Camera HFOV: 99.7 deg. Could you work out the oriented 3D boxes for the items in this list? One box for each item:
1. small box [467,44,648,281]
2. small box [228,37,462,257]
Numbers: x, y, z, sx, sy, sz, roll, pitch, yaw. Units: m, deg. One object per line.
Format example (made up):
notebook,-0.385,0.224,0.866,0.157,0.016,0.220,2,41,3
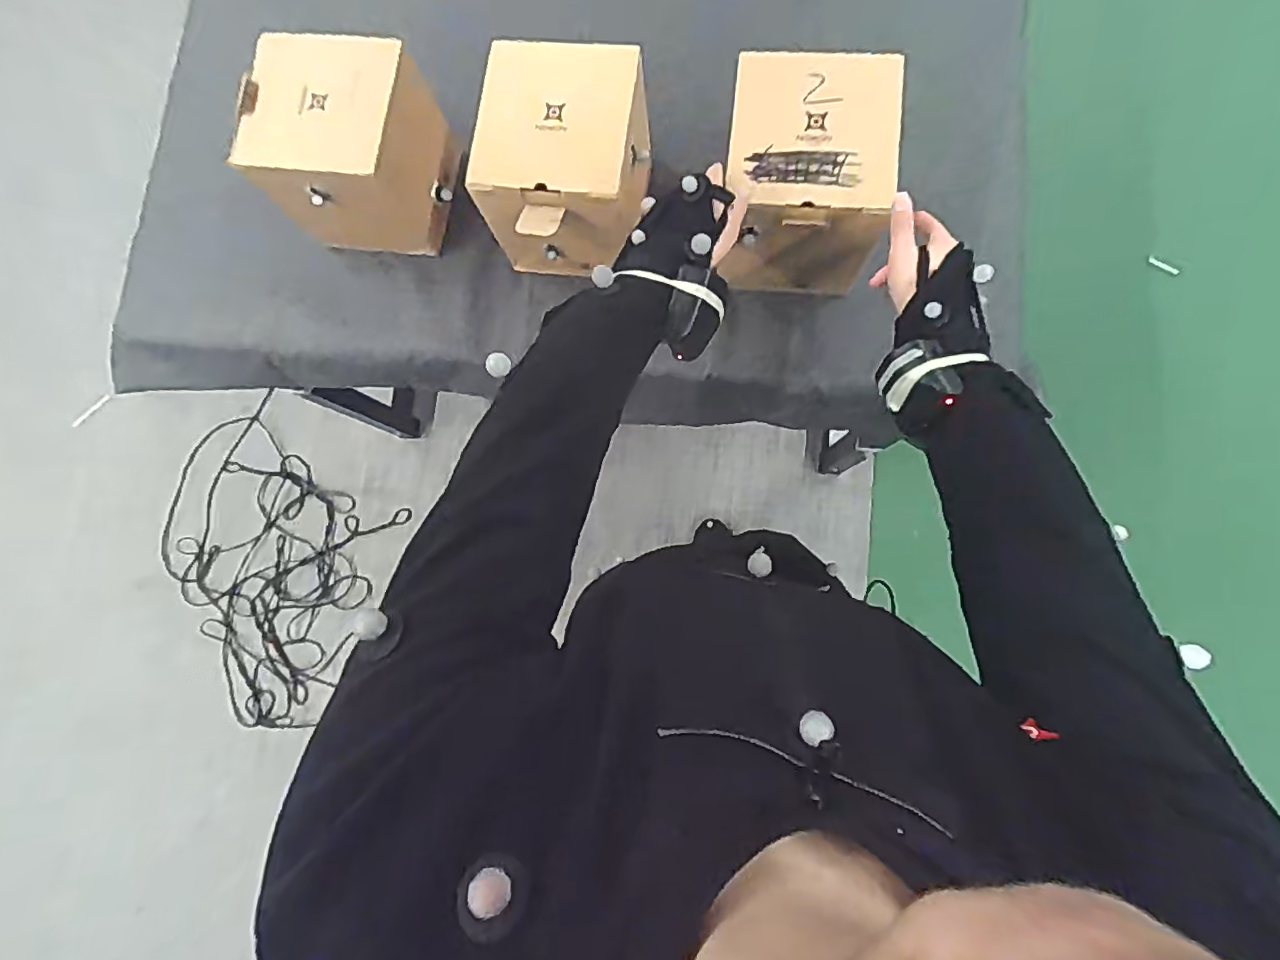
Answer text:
small box,-0.084,-0.367,0.647,0.168,0.176,0.179,7,83,6
small box,-0.350,-0.401,0.675,0.179,0.176,0.168,8,83,5
